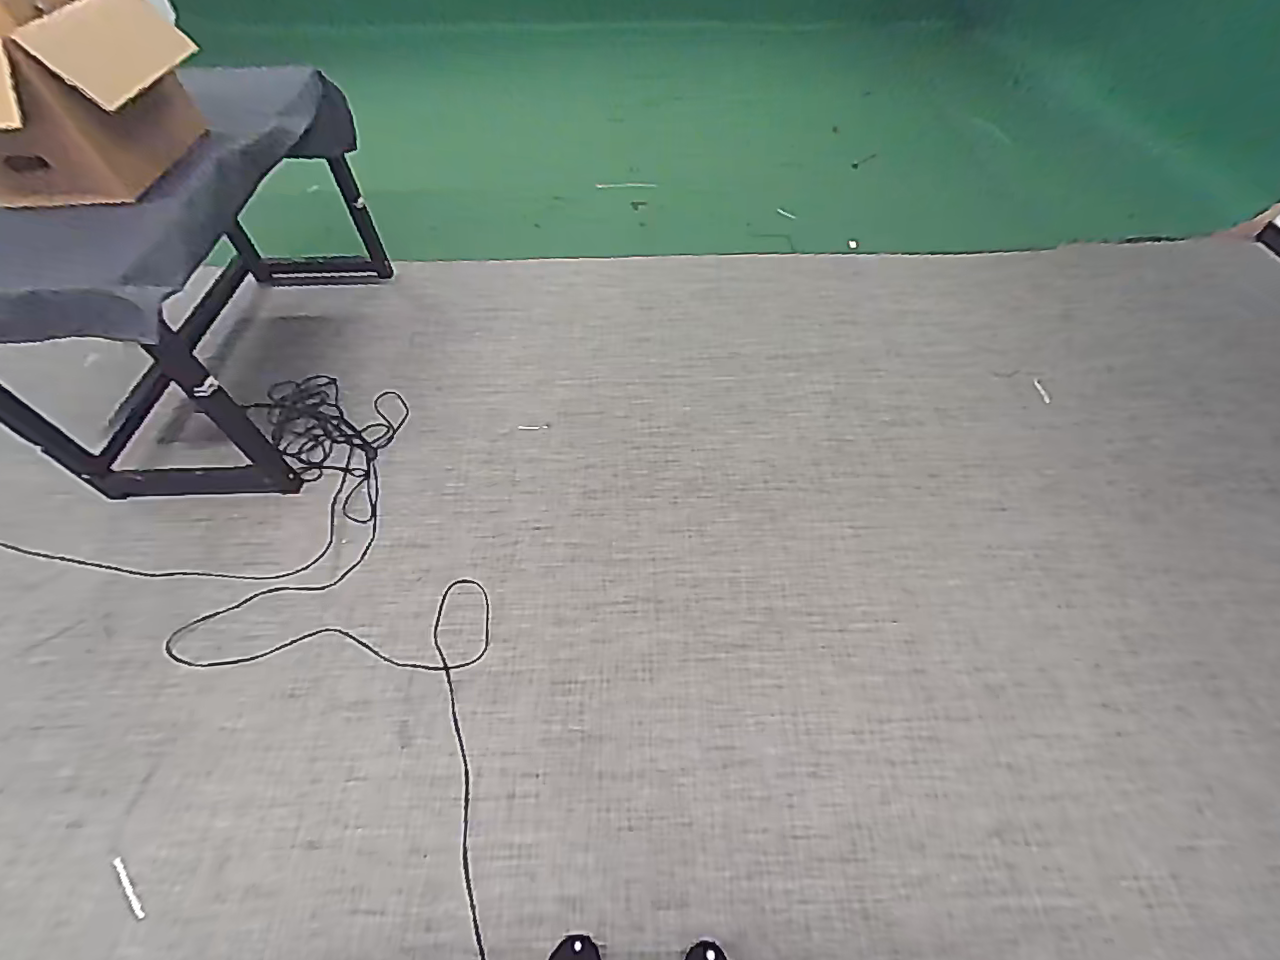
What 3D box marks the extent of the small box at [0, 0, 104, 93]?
[{"bbox_3d":[-1.310,-0.946,1.142,0.168,0.176,0.179,-3,54,-1],"label":"small box"}]
